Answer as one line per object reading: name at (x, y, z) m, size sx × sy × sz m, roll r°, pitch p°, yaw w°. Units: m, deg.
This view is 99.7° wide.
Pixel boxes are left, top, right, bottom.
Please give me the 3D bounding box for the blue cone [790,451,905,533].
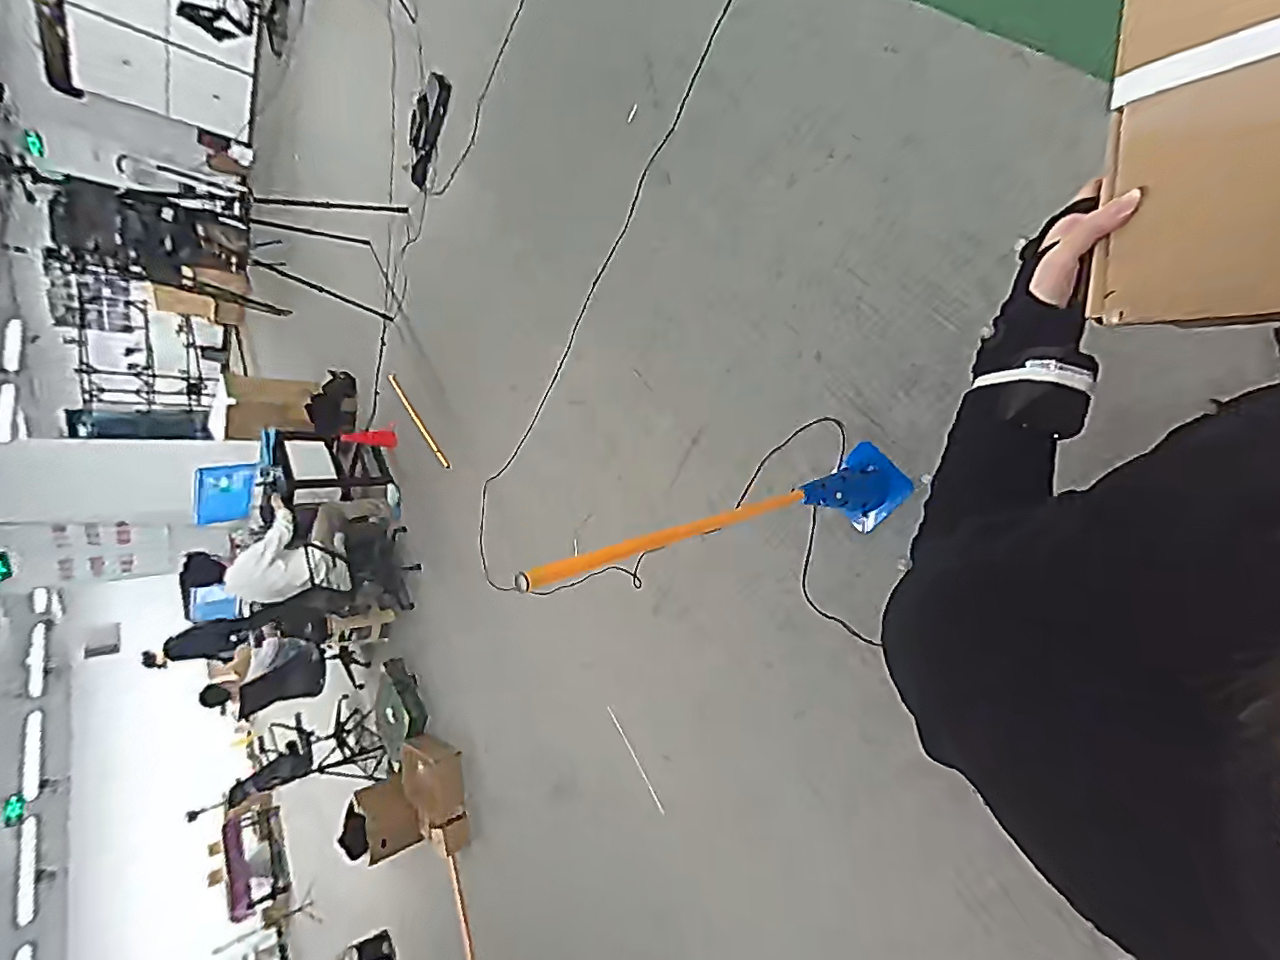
blue cone at (0.506, 0.043, 1.401) m, size 0.193 × 0.380 × 0.192 m, roll 52°, pitch 127°, yaw 29°
